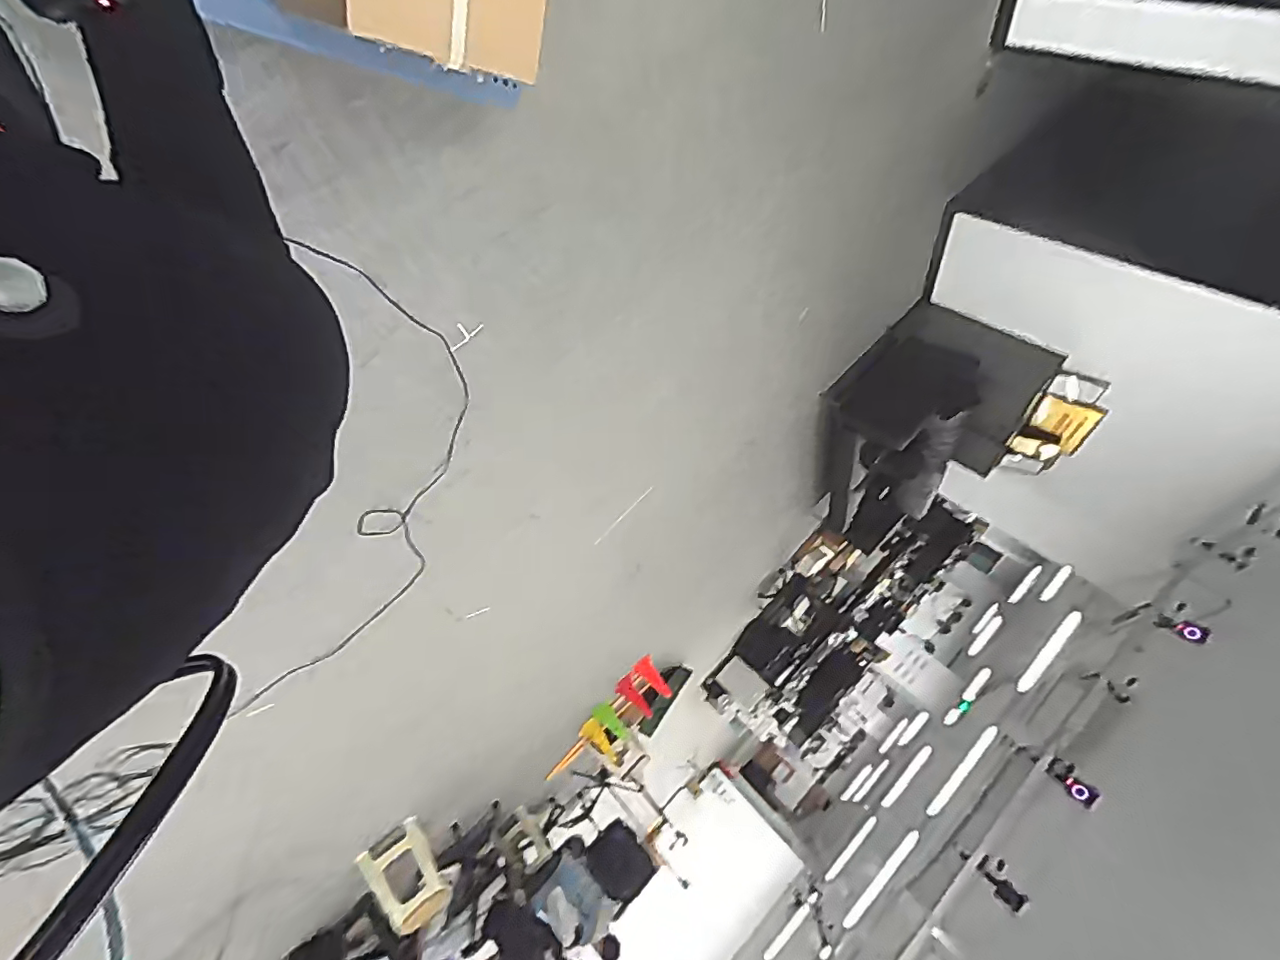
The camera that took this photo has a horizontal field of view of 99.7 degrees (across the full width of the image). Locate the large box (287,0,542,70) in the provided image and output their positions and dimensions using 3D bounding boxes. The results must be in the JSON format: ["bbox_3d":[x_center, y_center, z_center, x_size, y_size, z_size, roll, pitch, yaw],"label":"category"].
[{"bbox_3d":[-0.345,-0.908,0.808,0.320,0.320,0.408,-20,137,-42],"label":"large box"}]
